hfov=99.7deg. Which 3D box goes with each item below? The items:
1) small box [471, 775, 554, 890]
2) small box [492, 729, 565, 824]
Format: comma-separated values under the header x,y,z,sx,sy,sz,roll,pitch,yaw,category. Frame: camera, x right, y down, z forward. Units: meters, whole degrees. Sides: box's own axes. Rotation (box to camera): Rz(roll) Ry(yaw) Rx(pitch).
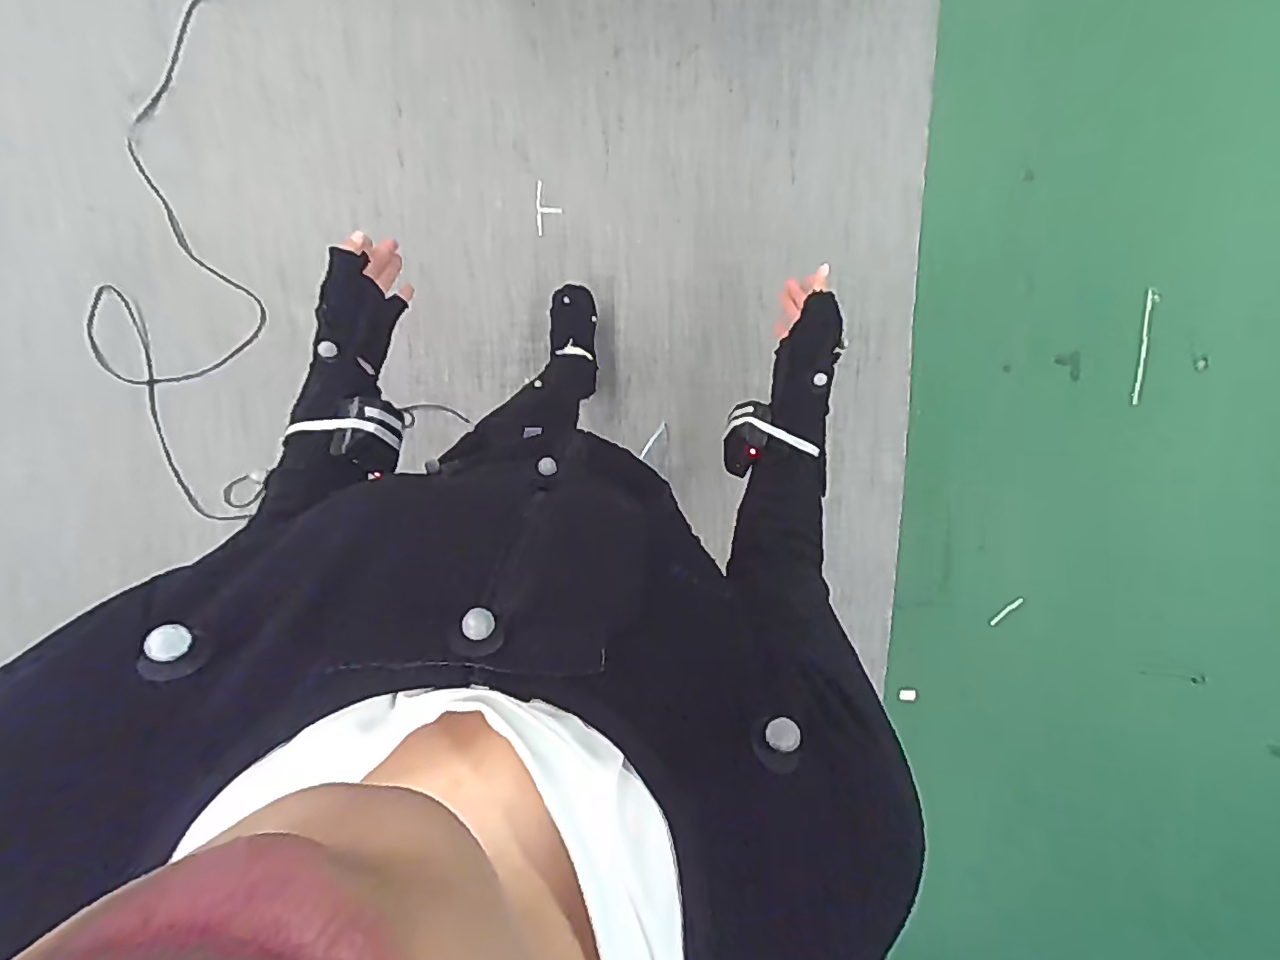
x,y,z,sx,sy,sz,roll,pitch,yaw,category
-0.290,0.809,1.250,0.168,0.176,0.179,-1,98,-4,small box
-0.289,0.782,1.431,0.168,0.176,0.179,-6,99,-5,small box
